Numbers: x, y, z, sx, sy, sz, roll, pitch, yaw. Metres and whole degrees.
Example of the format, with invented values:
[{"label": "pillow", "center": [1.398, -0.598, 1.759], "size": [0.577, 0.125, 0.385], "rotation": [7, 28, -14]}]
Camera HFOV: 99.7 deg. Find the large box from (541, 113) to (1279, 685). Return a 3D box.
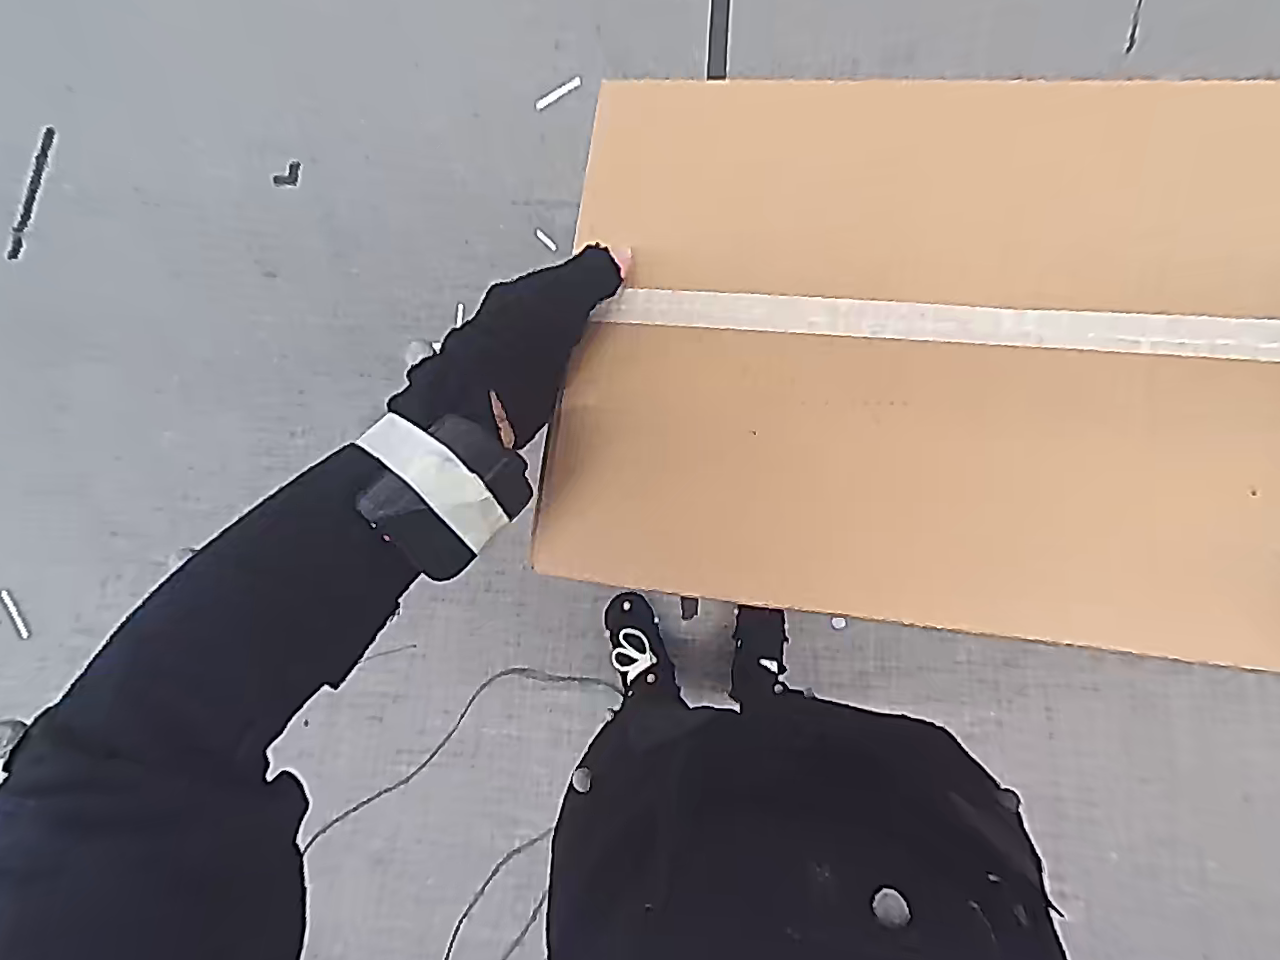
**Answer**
[{"label": "large box", "center": [0.170, -0.042, 0.444], "size": [0.408, 0.320, 0.320], "rotation": [5, 82, 8]}]
